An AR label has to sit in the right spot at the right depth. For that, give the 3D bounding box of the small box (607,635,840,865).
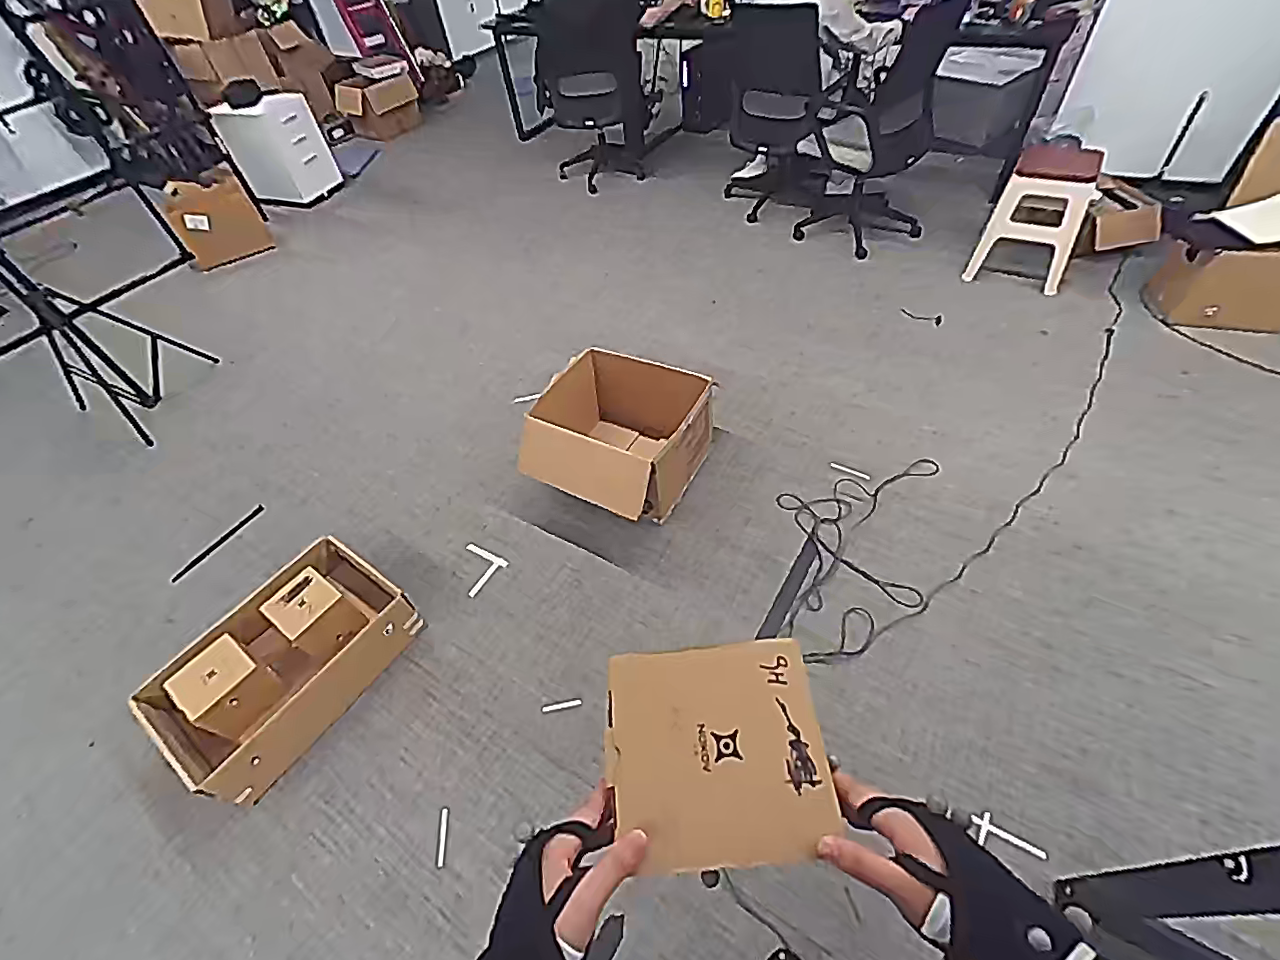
[{"bbox_3d":[0.069,0.263,0.518,0.179,0.176,0.168,-6,55,2],"label":"small box"}]

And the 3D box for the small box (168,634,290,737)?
[{"bbox_3d":[-1.110,0.563,1.472,0.168,0.176,0.179,28,57,25],"label":"small box"}]
